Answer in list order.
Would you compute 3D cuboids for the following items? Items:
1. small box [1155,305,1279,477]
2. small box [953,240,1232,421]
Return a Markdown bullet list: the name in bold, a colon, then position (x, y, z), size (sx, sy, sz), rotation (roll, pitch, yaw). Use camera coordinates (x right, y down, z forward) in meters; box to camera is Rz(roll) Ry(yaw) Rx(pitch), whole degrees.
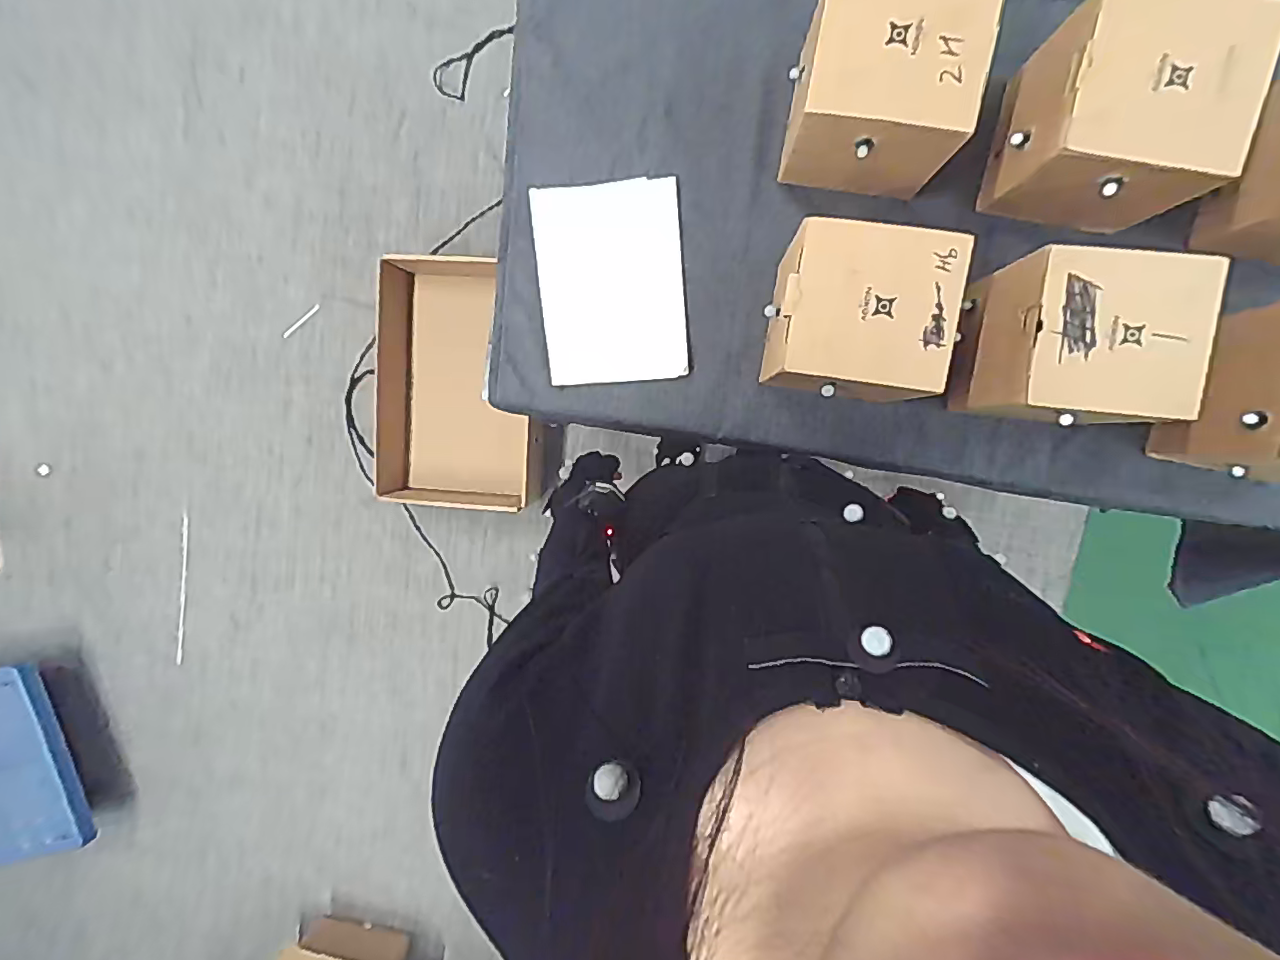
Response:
- **small box**: position (0.751, -0.099, 0.612), size (0.168, 0.176, 0.179), rotation (12, 96, 4)
- **small box**: position (0.496, -0.159, 0.625), size (0.179, 0.176, 0.168), rotation (6, 95, 3)
